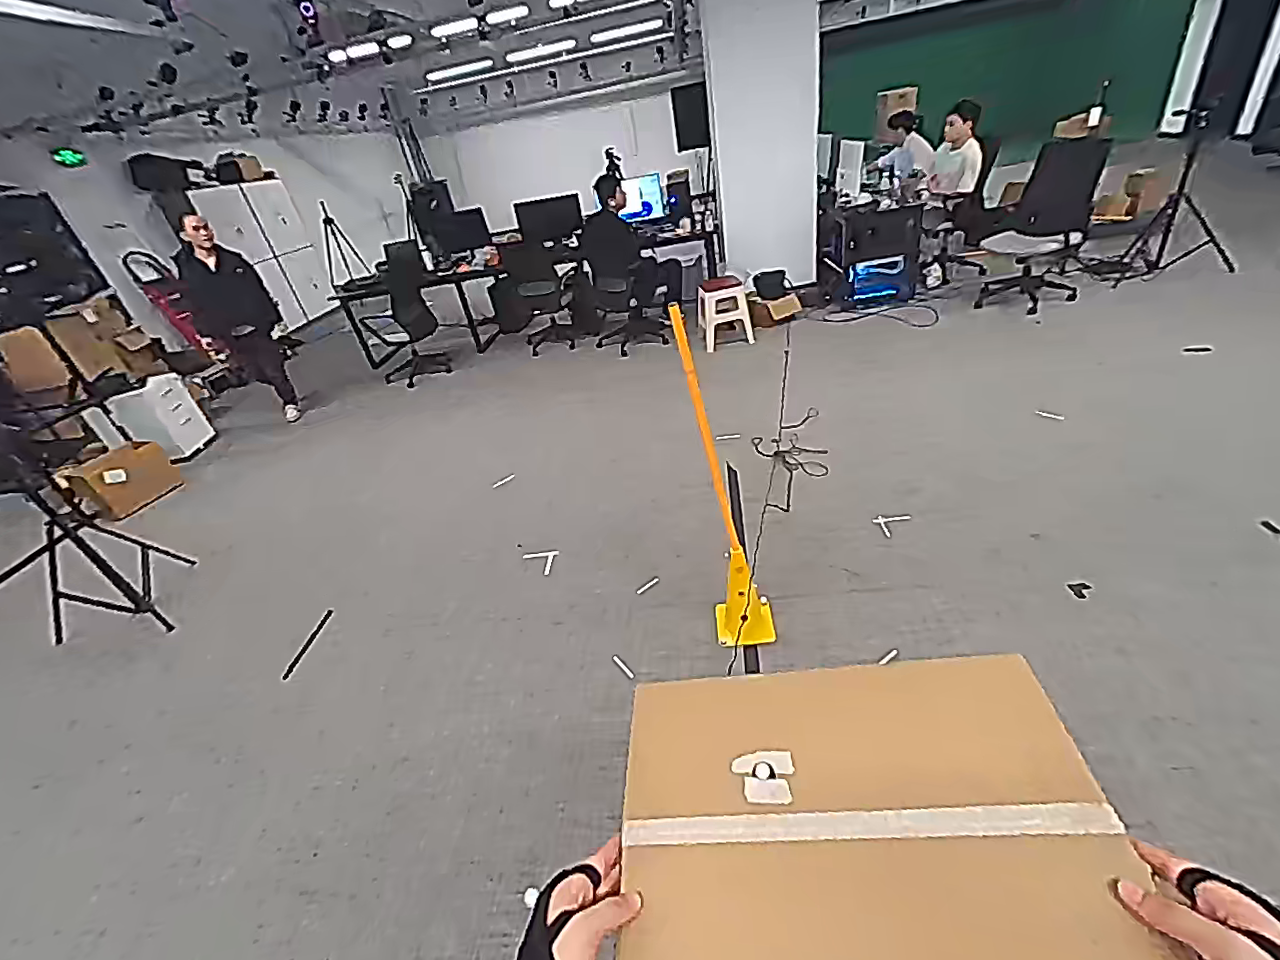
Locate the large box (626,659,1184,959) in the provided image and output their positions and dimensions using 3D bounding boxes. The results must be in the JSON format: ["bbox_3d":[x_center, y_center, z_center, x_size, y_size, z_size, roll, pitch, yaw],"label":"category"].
[{"bbox_3d":[0.223,0.426,0.557,0.408,0.320,0.320,-10,34,12],"label":"large box"}]
